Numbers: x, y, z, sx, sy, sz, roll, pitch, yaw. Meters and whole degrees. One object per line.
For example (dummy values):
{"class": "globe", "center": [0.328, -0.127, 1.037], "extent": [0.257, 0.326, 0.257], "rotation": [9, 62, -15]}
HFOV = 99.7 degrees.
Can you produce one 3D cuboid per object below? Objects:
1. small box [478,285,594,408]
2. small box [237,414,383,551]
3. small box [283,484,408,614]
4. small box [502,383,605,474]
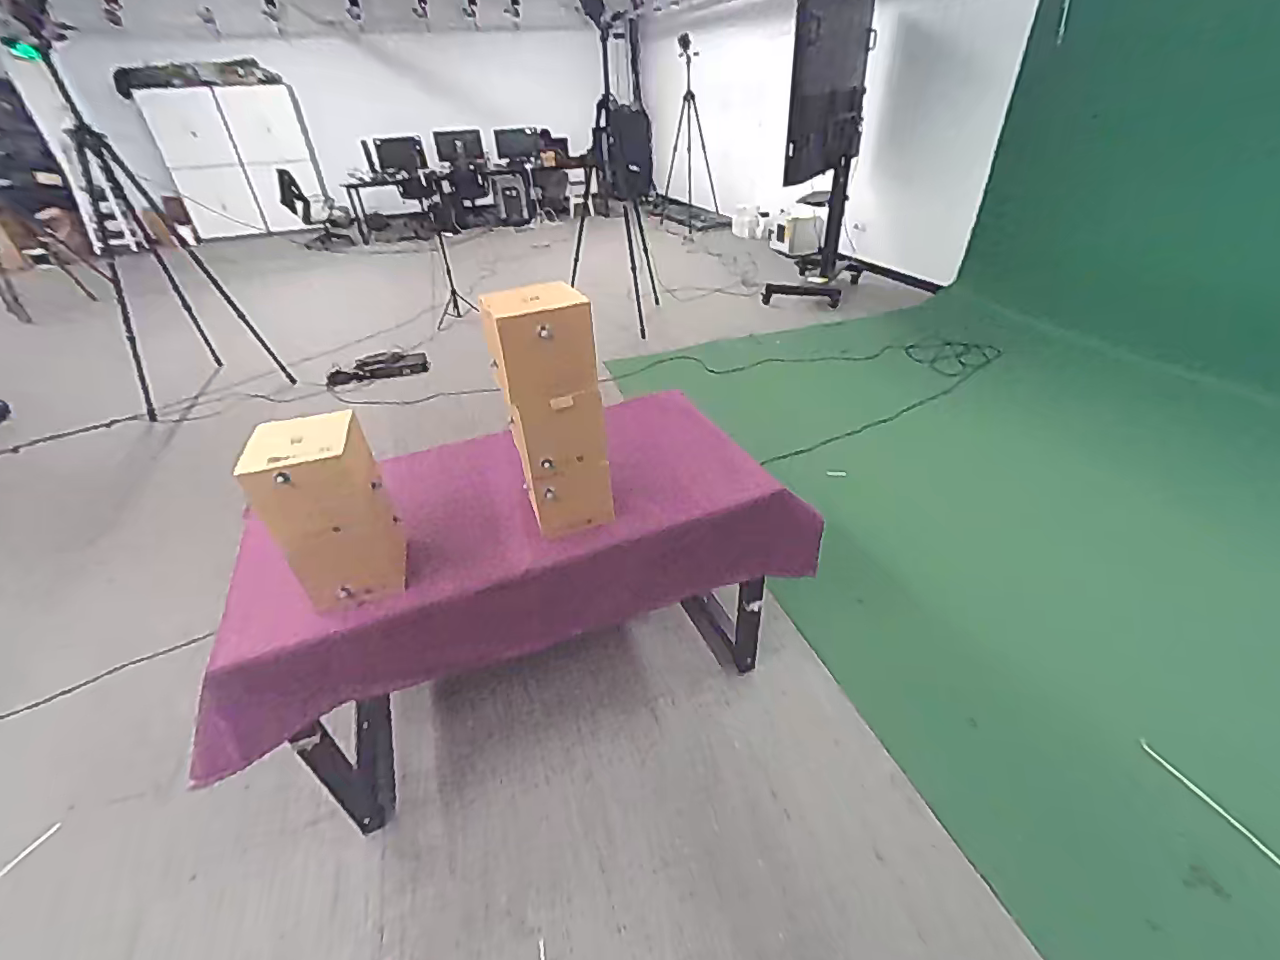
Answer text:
{"class": "small box", "center": [-0.195, -0.260, 1.044], "extent": [0.179, 0.176, 0.168], "rotation": [-18, 37, -18]}
{"class": "small box", "center": [-0.589, 0.002, 0.994], "extent": [0.168, 0.176, 0.179], "rotation": [-14, 35, -12]}
{"class": "small box", "center": [-0.579, 0.137, 1.089], "extent": [0.168, 0.176, 0.179], "rotation": [-13, 37, -12]}
{"class": "small box", "center": [-0.182, -0.126, 1.137], "extent": [0.168, 0.176, 0.179], "rotation": [-16, 36, -17]}
